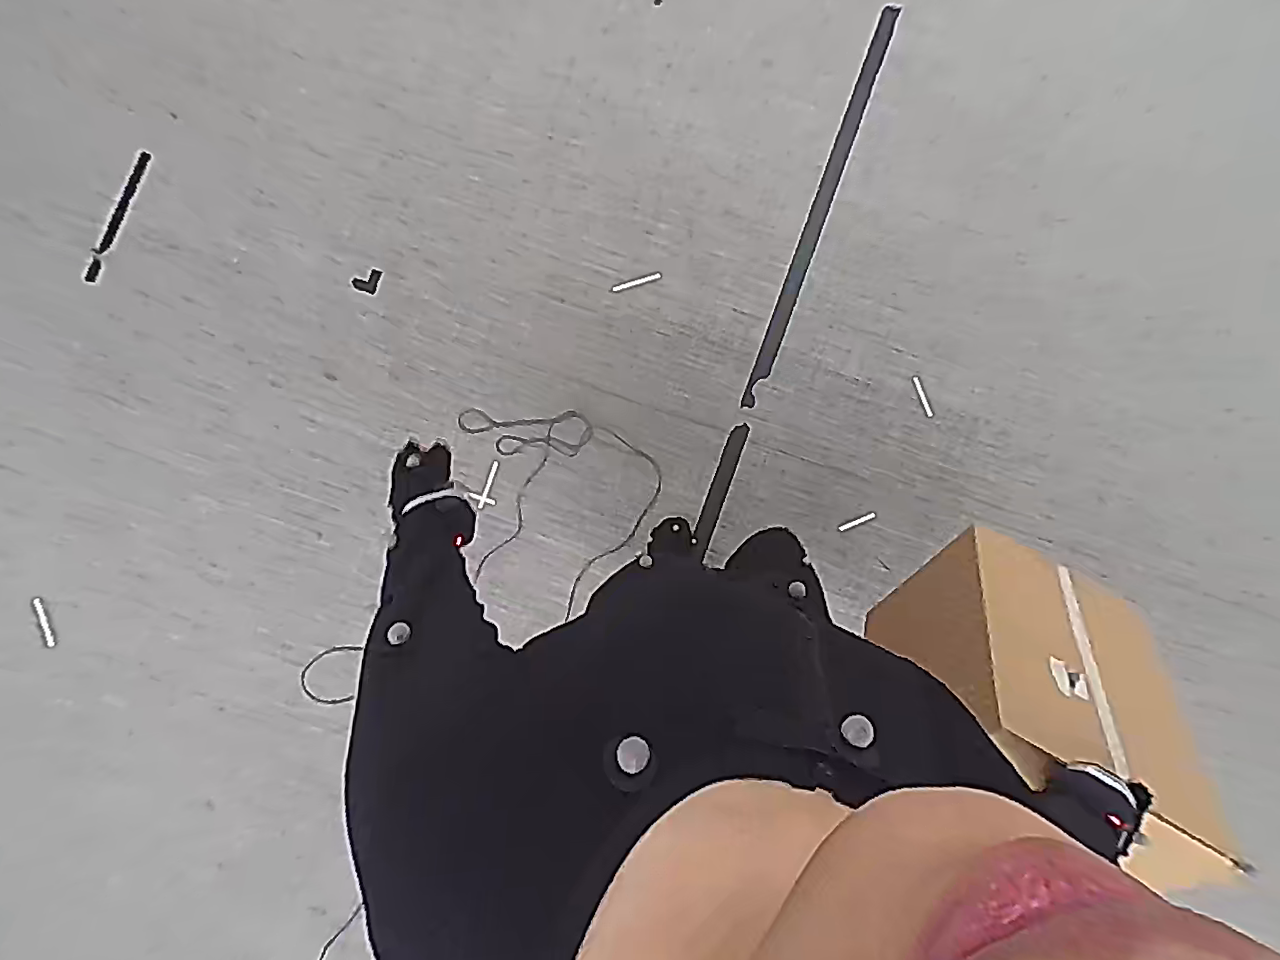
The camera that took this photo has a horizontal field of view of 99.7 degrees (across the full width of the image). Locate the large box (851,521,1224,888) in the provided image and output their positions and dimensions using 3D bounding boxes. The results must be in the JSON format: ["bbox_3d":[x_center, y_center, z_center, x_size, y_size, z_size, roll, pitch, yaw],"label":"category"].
[{"bbox_3d":[0.582,0.353,0.890,0.320,0.320,0.408,29,43,4],"label":"large box"}]
